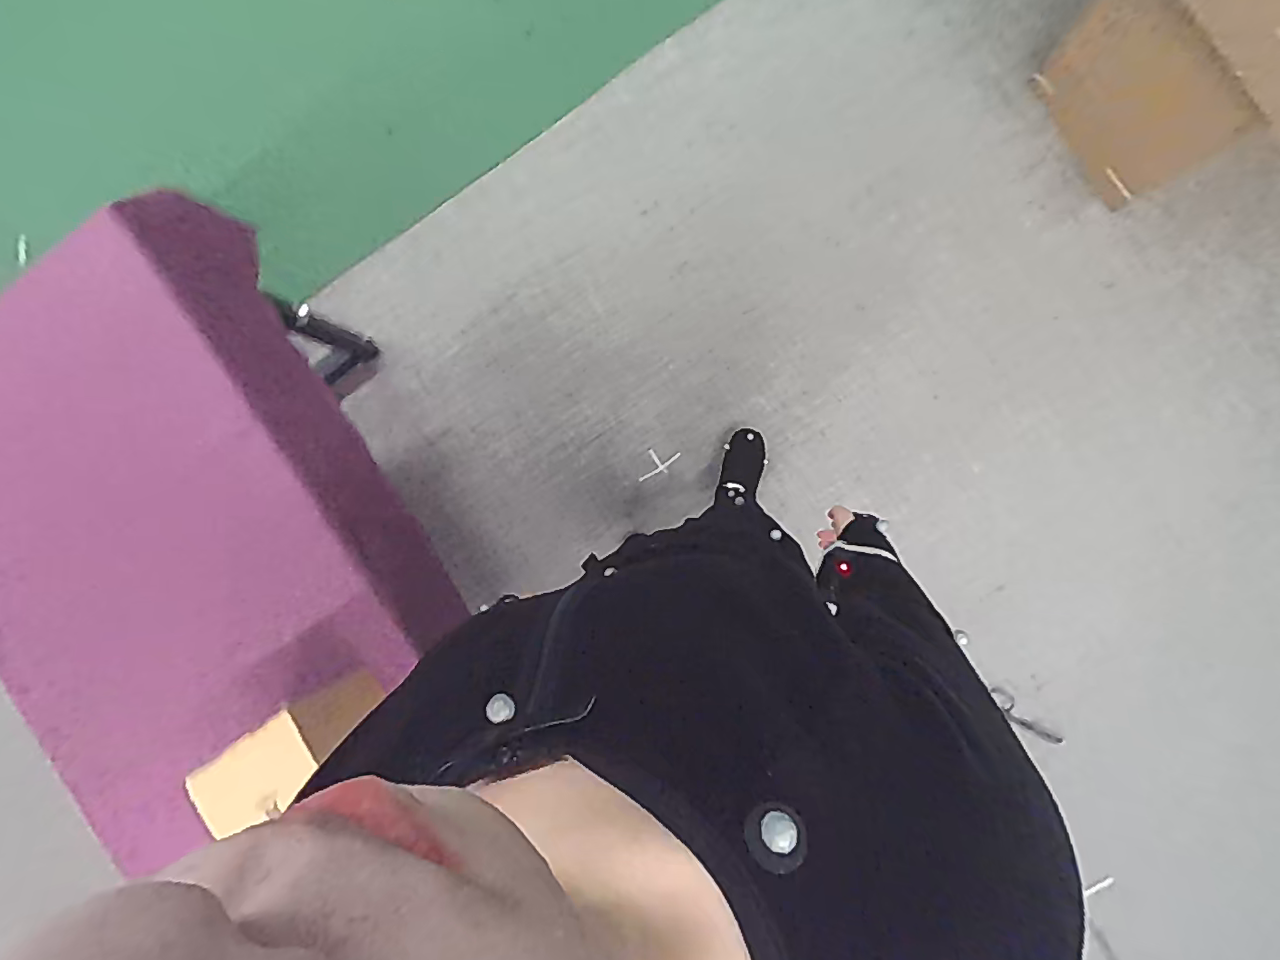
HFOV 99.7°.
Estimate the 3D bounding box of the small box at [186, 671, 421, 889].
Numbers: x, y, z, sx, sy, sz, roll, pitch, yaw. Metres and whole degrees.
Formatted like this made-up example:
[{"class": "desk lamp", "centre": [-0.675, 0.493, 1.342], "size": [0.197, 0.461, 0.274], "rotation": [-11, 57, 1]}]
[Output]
[{"class": "small box", "centre": [-0.442, 0.386, 0.738], "size": [0.168, 0.176, 0.179], "rotation": [-35, 86, 5]}]
